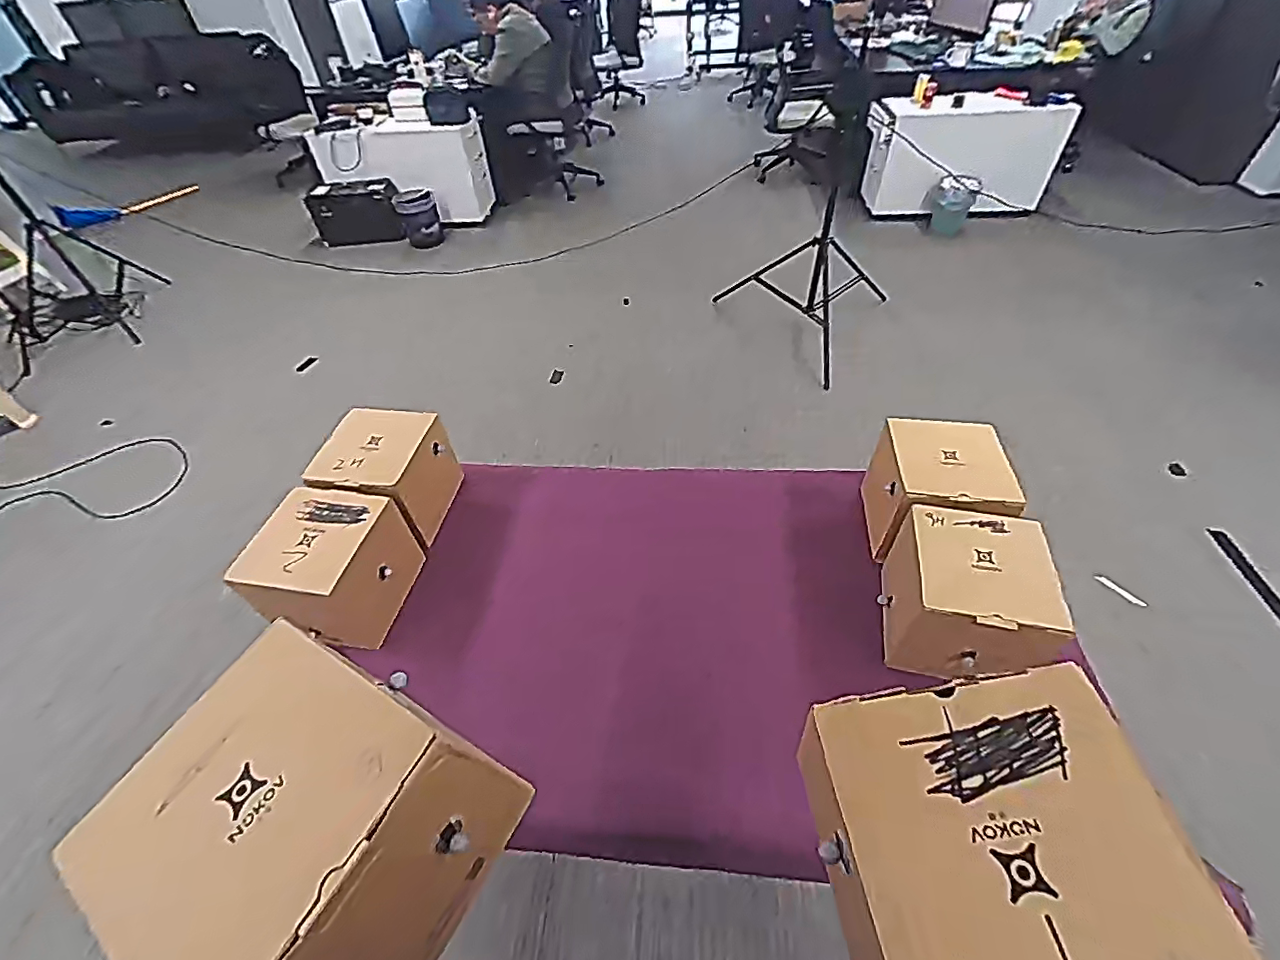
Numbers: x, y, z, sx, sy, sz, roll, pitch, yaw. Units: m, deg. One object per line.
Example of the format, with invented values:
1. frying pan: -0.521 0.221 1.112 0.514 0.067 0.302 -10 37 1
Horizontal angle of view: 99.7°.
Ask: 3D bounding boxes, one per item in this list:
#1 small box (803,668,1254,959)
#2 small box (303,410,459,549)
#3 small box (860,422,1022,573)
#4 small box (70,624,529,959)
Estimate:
1. small box: 0.213 0.245 0.351 0.168 0.176 0.179 -11 53 4
2. small box: -0.443 -0.001 0.962 0.168 0.176 0.179 4 48 8
3. small box: 0.473 0.028 0.886 0.168 0.176 0.179 5 47 7
4. small box: -0.208 0.236 0.378 0.179 0.176 0.168 17 56 28
